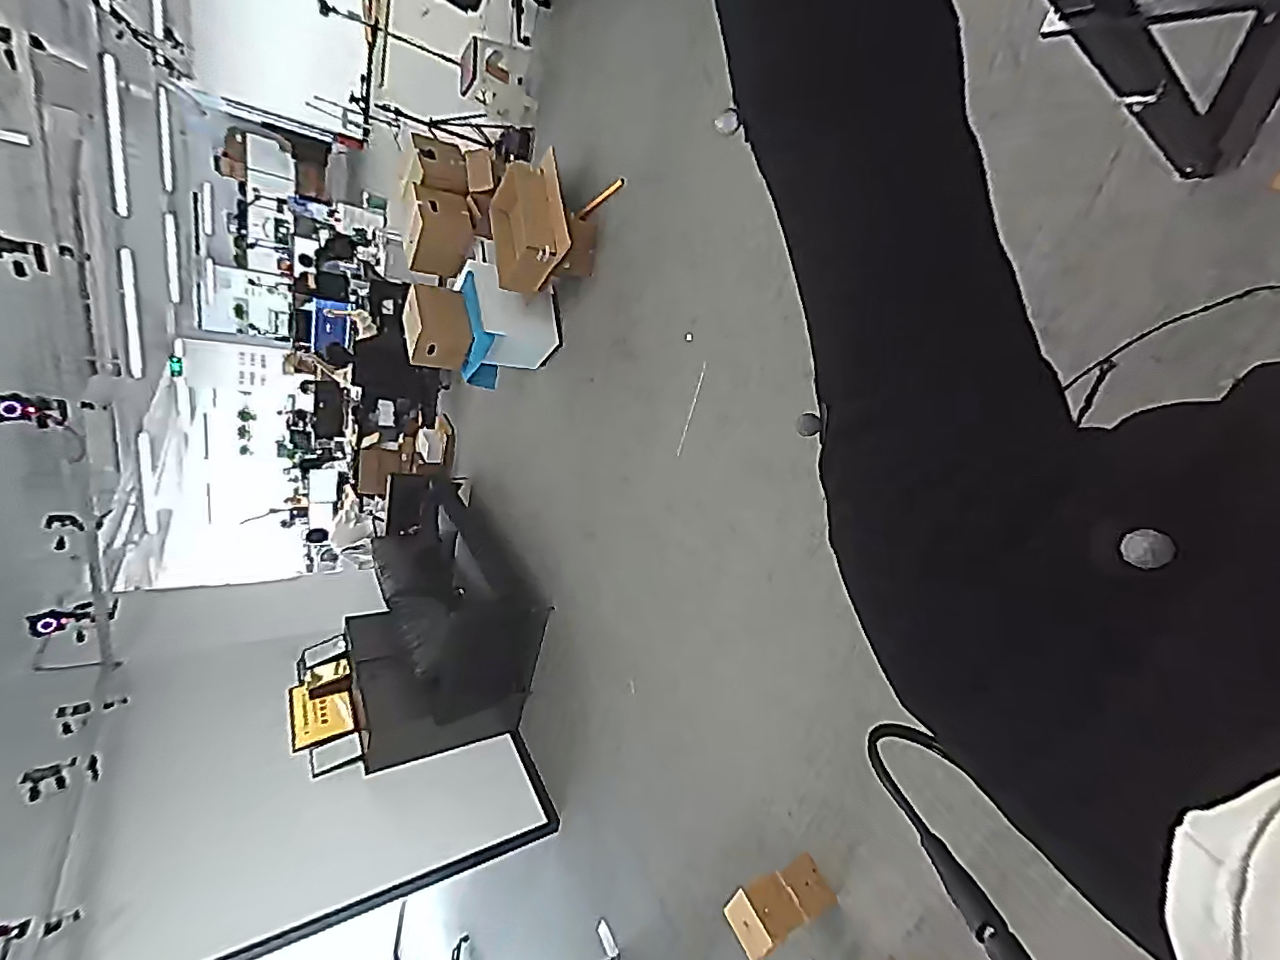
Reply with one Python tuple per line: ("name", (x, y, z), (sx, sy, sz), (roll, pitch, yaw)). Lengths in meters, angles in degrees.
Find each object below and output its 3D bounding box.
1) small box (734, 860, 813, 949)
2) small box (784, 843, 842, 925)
("small box", (0.476, 1.496, 1.921), (0.179, 0.176, 0.168), (48, 129, 42))
("small box", (0.617, 1.491, 2.003), (0.168, 0.176, 0.179), (51, 130, 42))
